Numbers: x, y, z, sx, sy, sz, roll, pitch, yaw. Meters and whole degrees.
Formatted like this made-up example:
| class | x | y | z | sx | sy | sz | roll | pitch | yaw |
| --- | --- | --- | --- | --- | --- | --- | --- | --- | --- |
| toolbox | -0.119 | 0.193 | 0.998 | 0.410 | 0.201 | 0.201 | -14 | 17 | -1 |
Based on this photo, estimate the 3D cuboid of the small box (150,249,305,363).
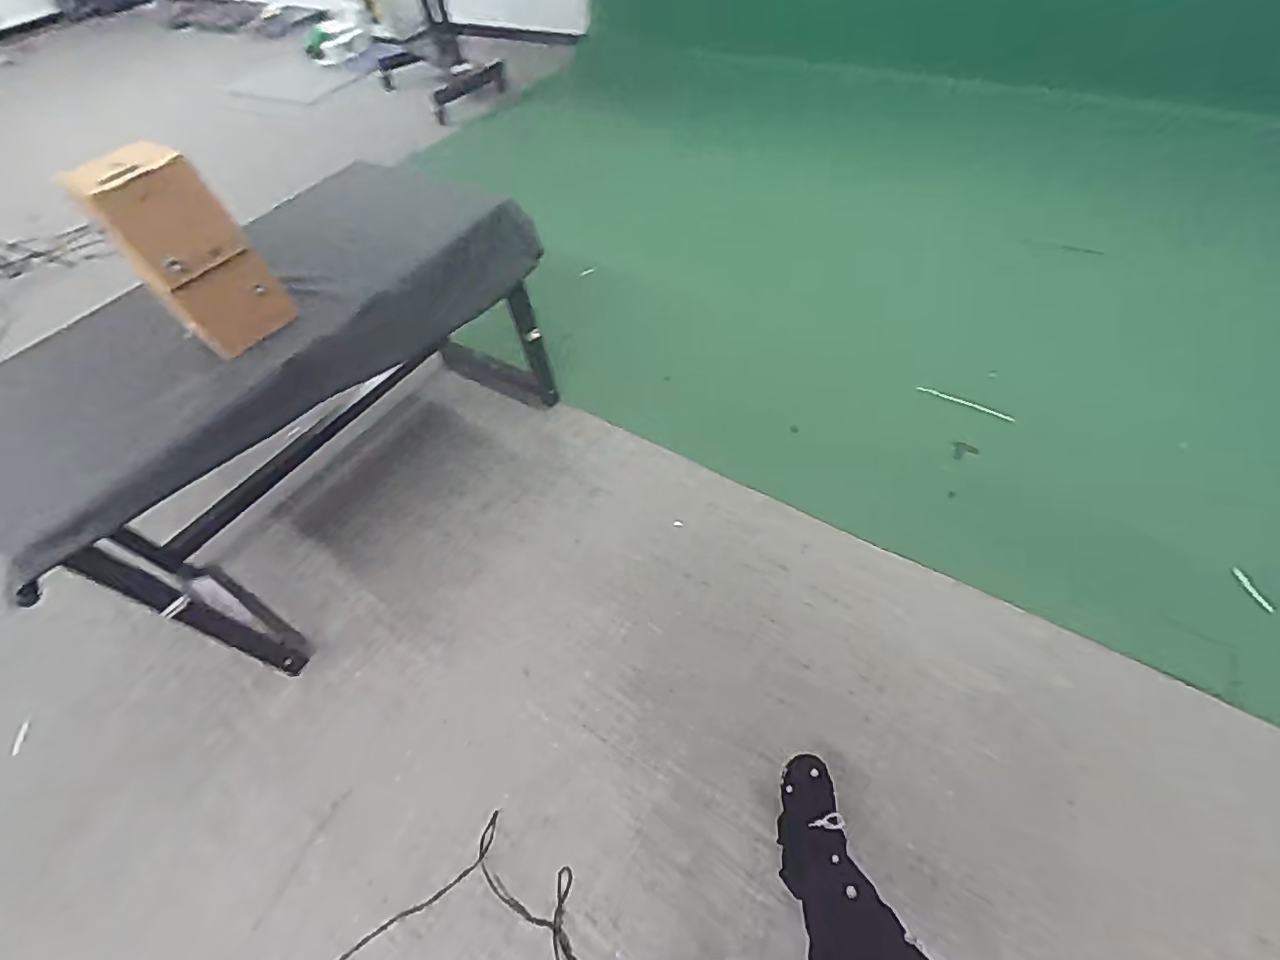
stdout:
| class | x | y | z | sx | sy | sz | roll | pitch | yaw |
| --- | --- | --- | --- | --- | --- | --- | --- | --- | --- |
| small box | -0.847 | -0.378 | 1.133 | 0.168 | 0.176 | 0.179 | 28 | 63 | 26 |

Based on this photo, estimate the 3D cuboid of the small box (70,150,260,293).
| class | x | y | z | sx | sy | sz | roll | pitch | yaw |
| --- | --- | --- | --- | --- | --- | --- | --- | --- | --- |
| small box | -0.862 | -0.473 | 0.999 | 0.179 | 0.176 | 0.168 | 26 | 61 | 24 |
